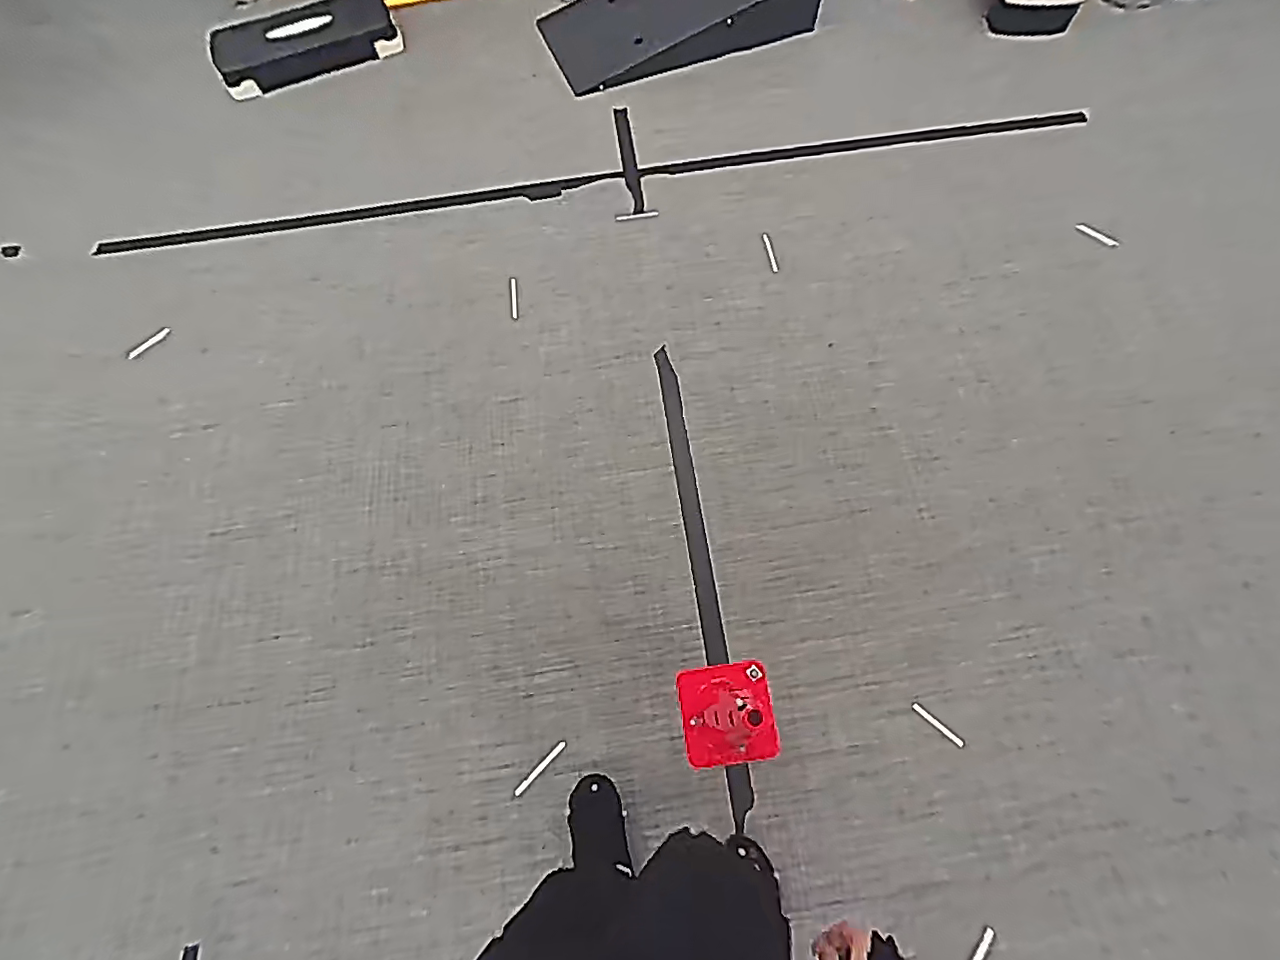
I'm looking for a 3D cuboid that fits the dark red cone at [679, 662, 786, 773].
[{"bbox_3d":[0.186,0.438,0.995,0.201,0.394,0.202,-9,68,-1],"label":"dark red cone"}]
